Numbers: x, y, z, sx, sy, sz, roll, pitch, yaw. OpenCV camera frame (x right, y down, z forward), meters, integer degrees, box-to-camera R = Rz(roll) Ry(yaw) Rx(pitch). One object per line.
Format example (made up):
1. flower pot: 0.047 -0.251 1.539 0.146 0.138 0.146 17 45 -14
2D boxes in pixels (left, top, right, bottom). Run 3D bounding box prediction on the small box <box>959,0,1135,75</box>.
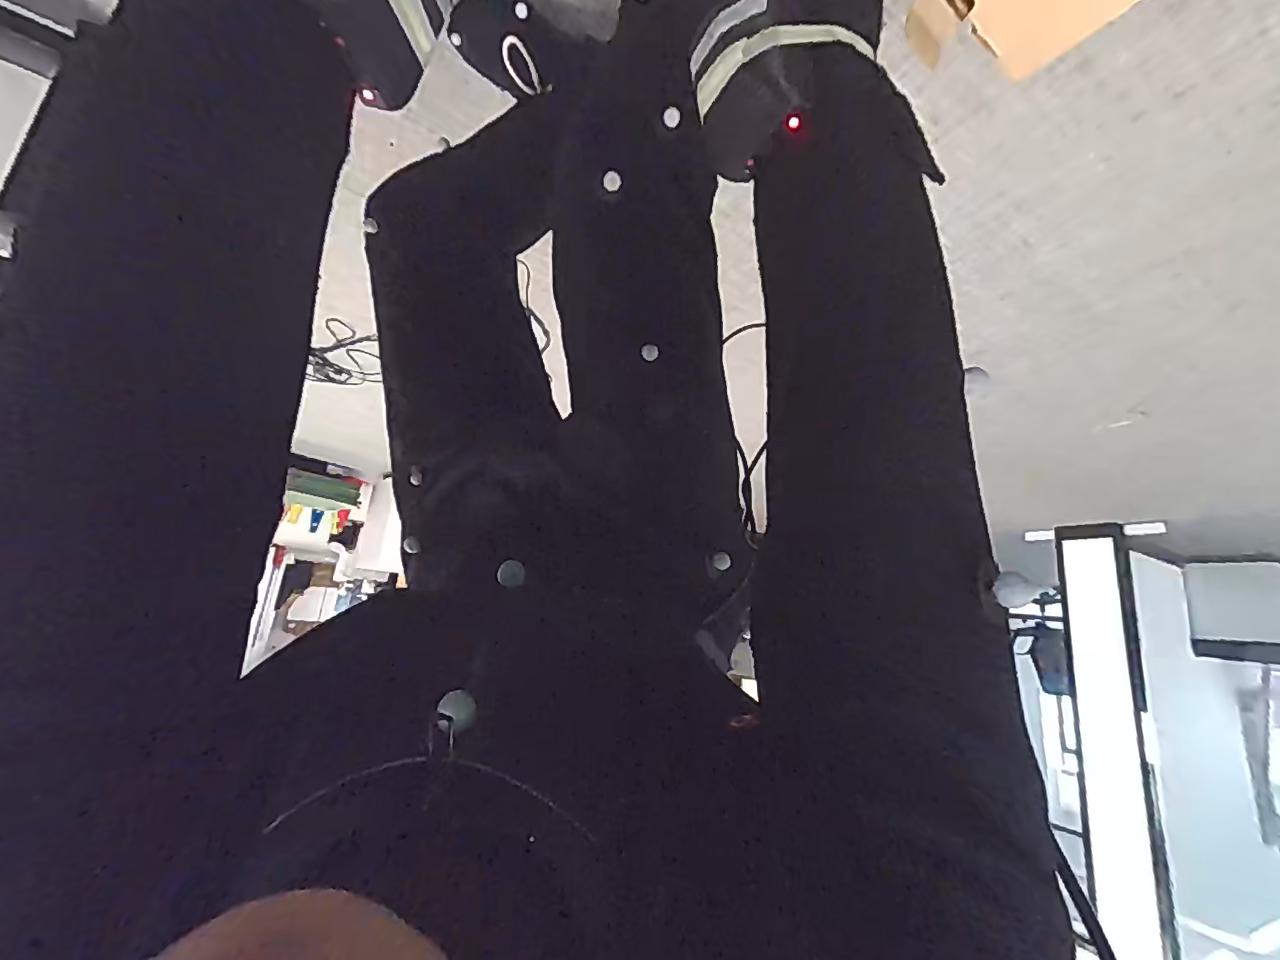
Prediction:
1. small box: 0.269 -0.408 0.309 0.168 0.176 0.179 14 163 -32
